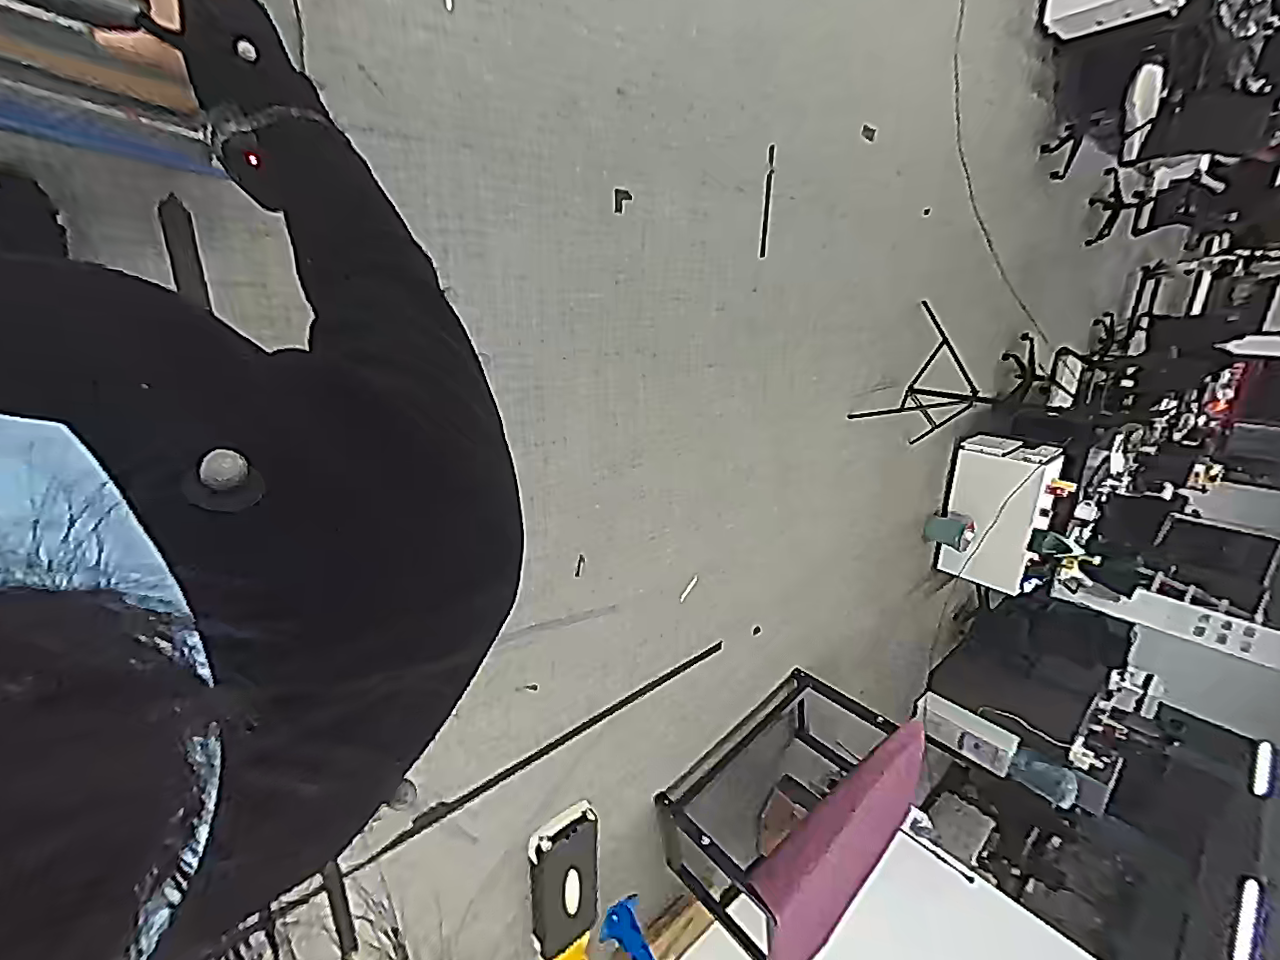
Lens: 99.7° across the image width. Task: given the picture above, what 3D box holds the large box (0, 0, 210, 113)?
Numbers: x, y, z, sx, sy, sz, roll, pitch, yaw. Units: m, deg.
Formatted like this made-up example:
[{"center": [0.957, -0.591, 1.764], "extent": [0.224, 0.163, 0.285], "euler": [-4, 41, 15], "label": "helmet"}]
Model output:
[{"center": [-0.794, -0.715, 0.647], "extent": [0.408, 0.320, 0.320], "euler": [-5, 108, -42], "label": "large box"}]
